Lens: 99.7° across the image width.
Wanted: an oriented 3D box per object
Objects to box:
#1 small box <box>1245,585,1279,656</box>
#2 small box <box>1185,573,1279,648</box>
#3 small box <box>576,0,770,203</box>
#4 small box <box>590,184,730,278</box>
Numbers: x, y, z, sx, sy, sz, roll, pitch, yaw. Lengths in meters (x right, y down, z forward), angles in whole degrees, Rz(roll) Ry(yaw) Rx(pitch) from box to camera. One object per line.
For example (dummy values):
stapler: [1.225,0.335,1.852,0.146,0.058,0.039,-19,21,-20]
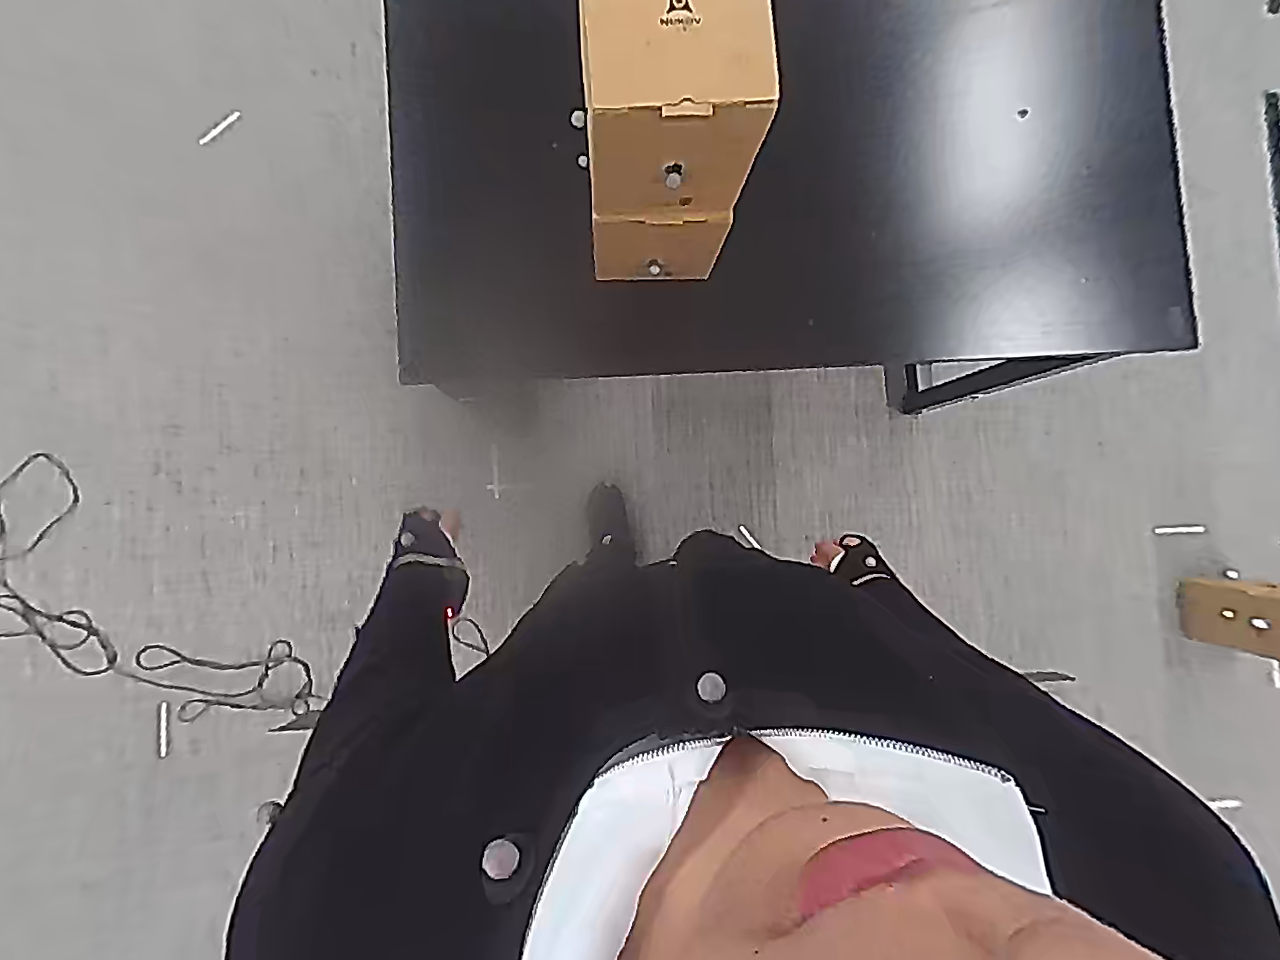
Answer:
small box: [1.687,0.354,1.344,0.179,0.176,0.168,-7,87,-2]
small box: [1.681,0.356,1.506,0.168,0.176,0.179,-5,89,-3]
small box: [0.024,-0.403,0.550,0.168,0.176,0.179,-5,88,-4]
small box: [0.017,-0.387,0.713,0.168,0.176,0.179,-2,88,-3]
